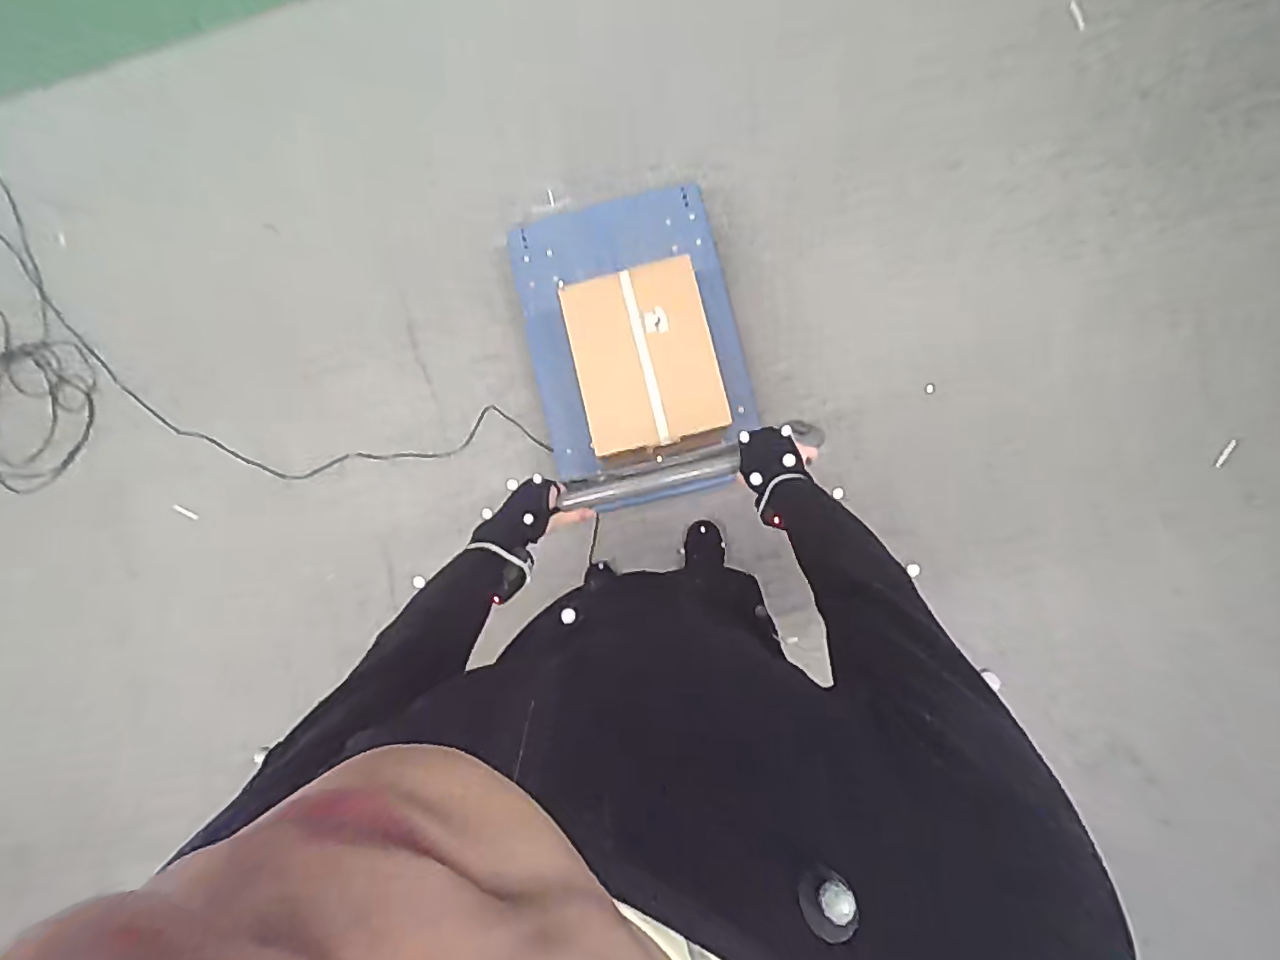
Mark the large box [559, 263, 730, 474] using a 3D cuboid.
[{"bbox_3d":[0.019,-0.258,1.372,0.320,0.320,0.408,-13,83,2],"label":"large box"}]
